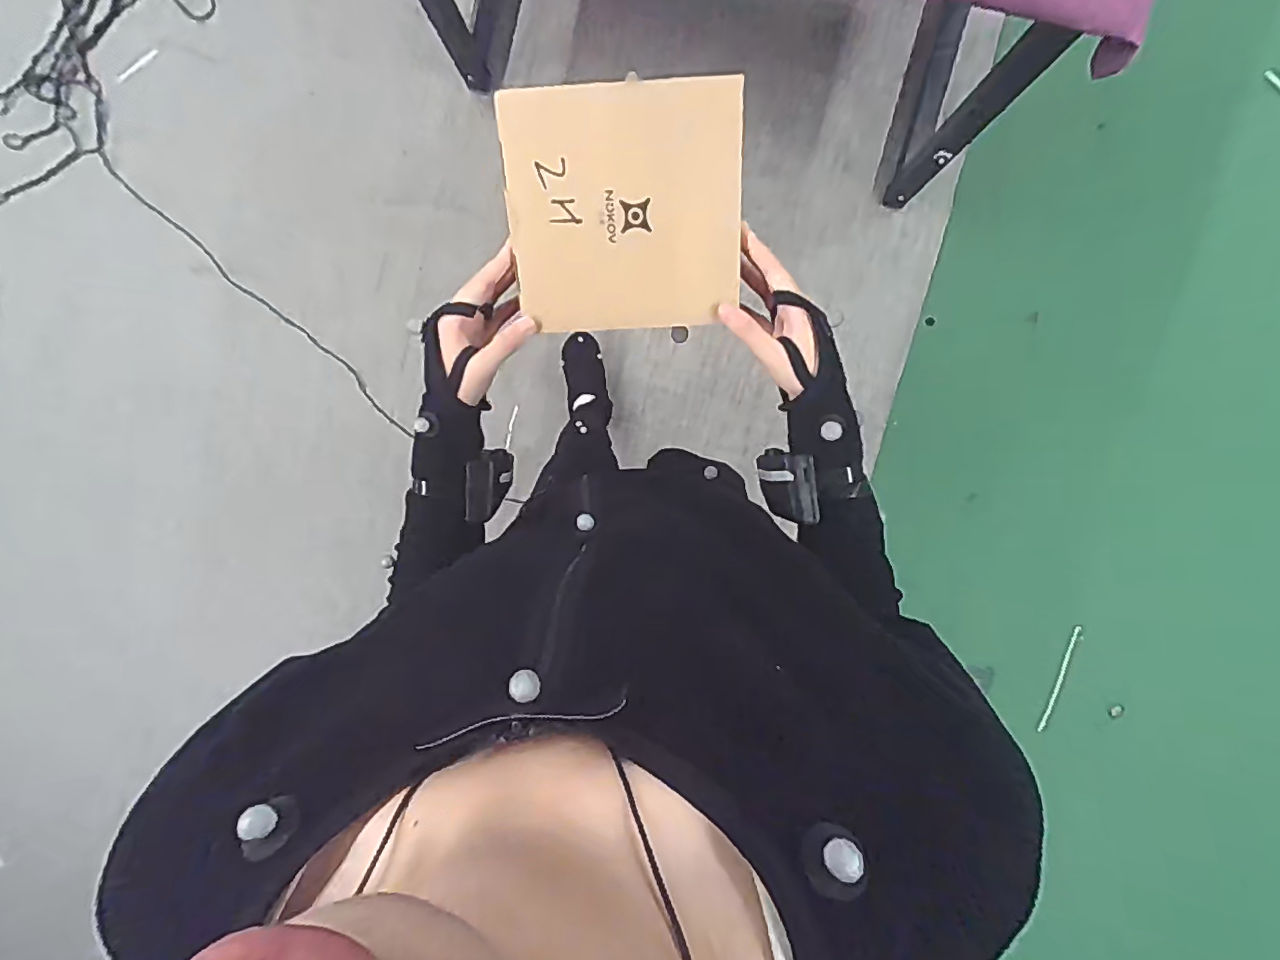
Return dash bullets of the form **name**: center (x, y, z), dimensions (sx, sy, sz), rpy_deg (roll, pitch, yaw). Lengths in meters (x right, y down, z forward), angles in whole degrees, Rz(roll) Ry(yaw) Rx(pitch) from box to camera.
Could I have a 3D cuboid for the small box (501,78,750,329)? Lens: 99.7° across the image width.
- **small box**: center (-0.008, -0.230, 0.476), dimensions (0.179, 0.176, 0.168), rpy_deg (-2, 112, 2)
